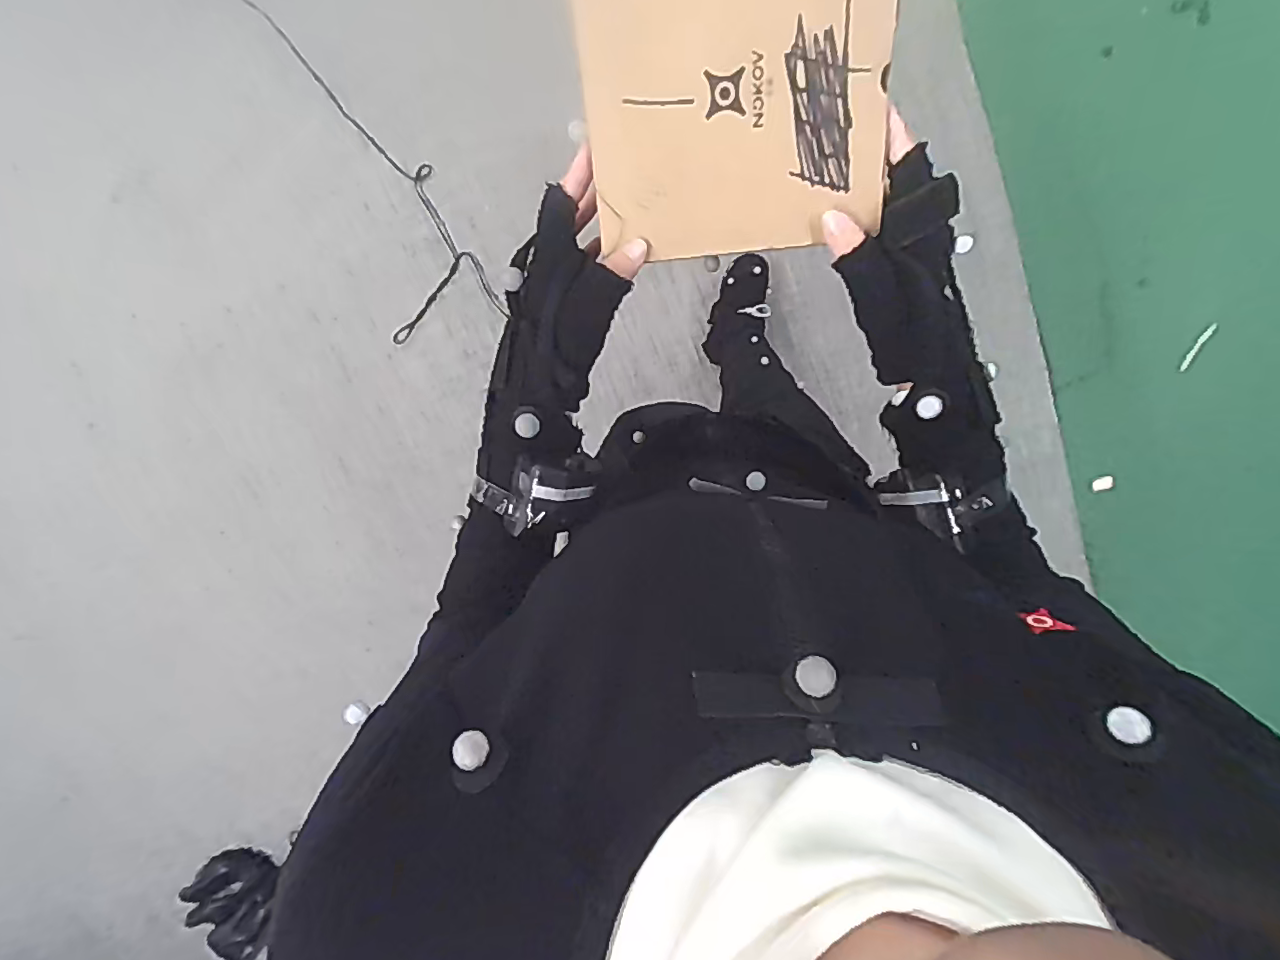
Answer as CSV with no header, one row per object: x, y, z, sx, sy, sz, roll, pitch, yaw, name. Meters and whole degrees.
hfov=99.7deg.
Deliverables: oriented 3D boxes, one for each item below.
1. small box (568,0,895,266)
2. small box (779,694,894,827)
0.052,-0.251,0.376,0.179,0.176,0.168,-6,115,2,small box
0.401,0.573,1.133,0.168,0.176,0.179,-17,99,7,small box
